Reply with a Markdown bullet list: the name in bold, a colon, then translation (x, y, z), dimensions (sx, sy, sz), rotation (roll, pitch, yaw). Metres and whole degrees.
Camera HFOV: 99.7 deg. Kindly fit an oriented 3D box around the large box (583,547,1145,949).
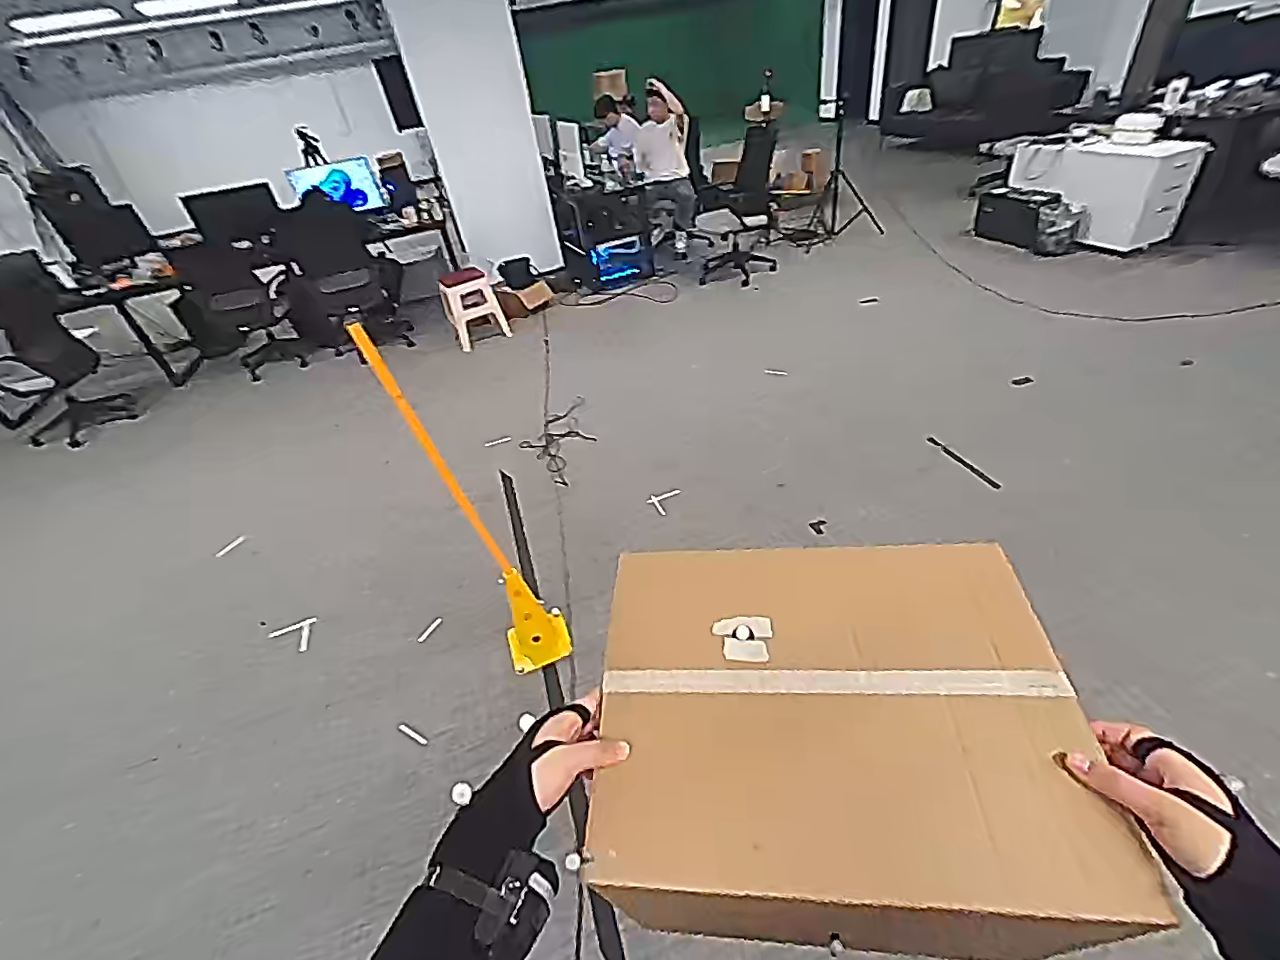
- **large box**: translation (0.185, 0.300, 0.602), dimensions (0.408, 0.320, 0.320), rotation (-5, 43, 10)
